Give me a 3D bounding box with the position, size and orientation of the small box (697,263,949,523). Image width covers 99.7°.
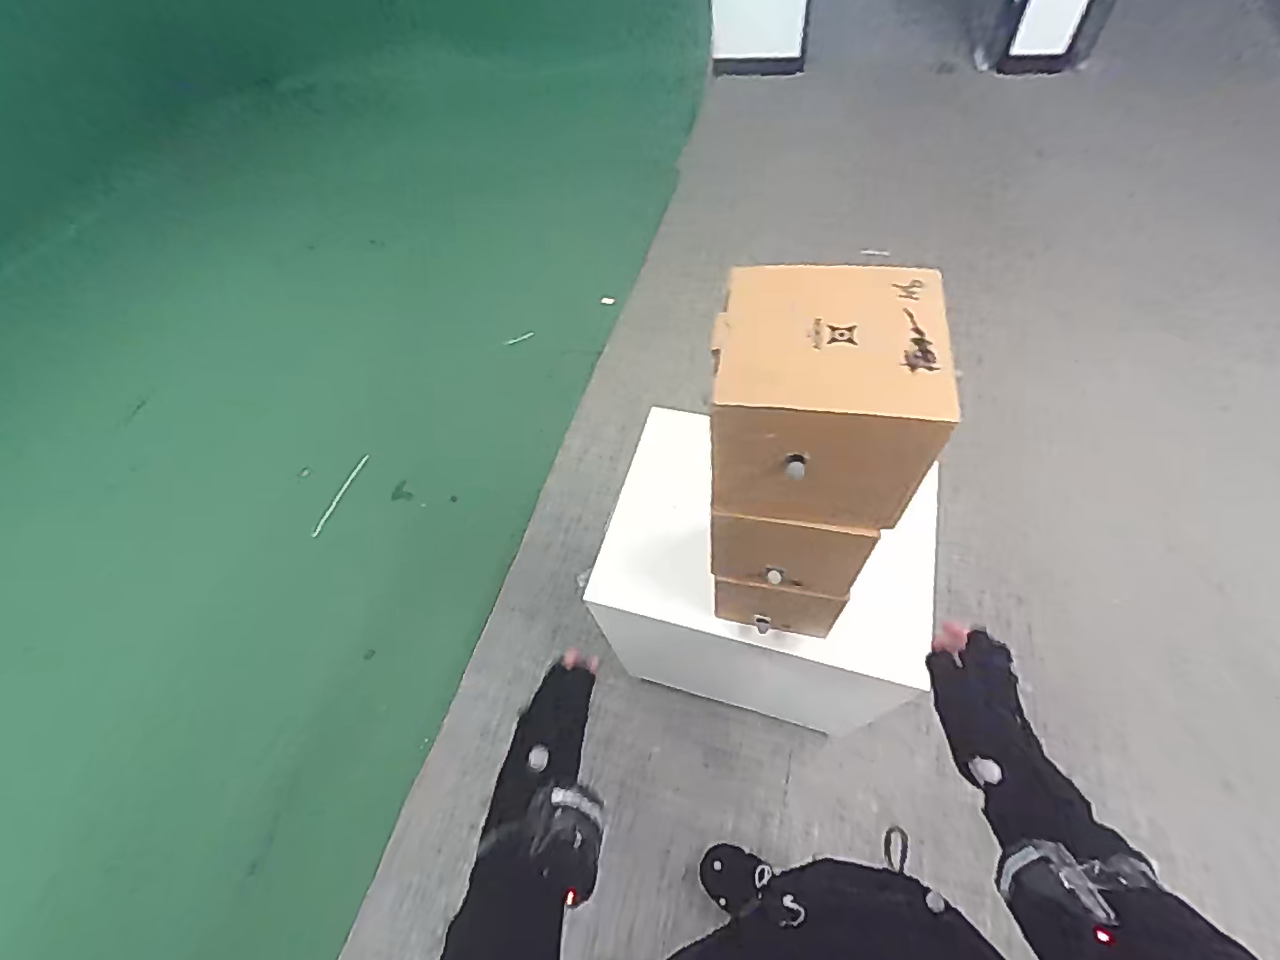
[{"bbox_3d":[0.155,-0.073,0.491,0.179,0.176,0.168,5,60,13],"label":"small box"}]

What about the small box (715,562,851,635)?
[{"bbox_3d":[0.201,0.101,0.765,0.168,0.176,0.179,6,61,14],"label":"small box"}]

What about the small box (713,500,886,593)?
[{"bbox_3d":[0.177,0.011,0.630,0.168,0.176,0.179,5,58,12],"label":"small box"}]
